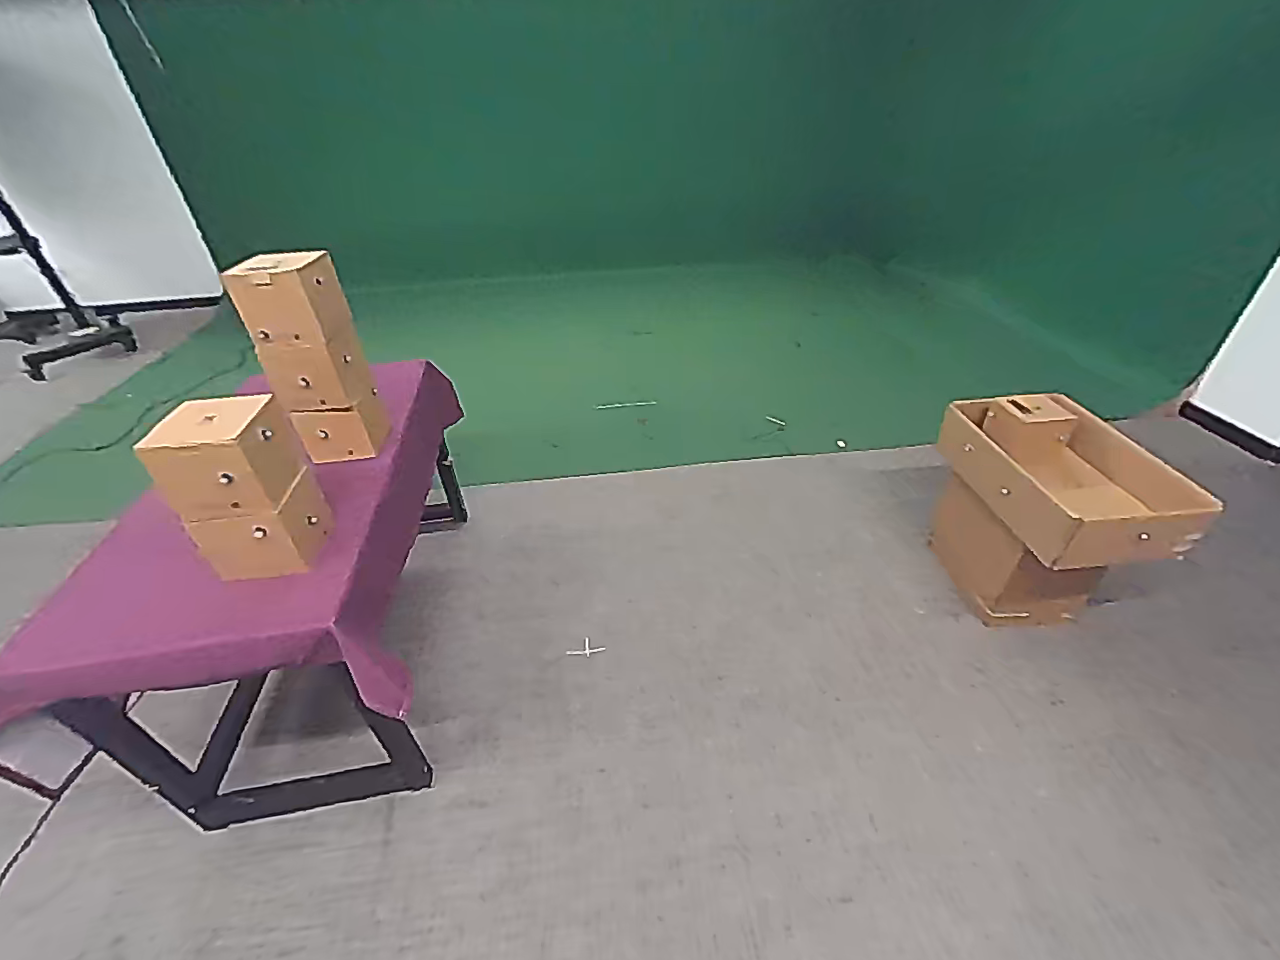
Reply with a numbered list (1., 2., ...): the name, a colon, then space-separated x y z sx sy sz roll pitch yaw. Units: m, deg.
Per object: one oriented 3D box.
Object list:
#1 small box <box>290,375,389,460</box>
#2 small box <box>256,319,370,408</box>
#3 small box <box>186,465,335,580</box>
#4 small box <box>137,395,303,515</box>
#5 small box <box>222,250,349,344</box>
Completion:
1. small box: -0.808 -0.166 1.478 0.168 0.176 0.179 -7 37 -5
2. small box: -0.815 -0.293 1.373 0.168 0.176 0.179 -4 38 -2
3. small box: -0.779 0.089 1.136 0.179 0.176 0.168 -6 37 -4
4. small box: -0.787 -0.044 1.042 0.168 0.176 0.179 -6 37 -5
5. small box: -0.822 -0.430 1.281 0.168 0.176 0.179 -5 36 -1
